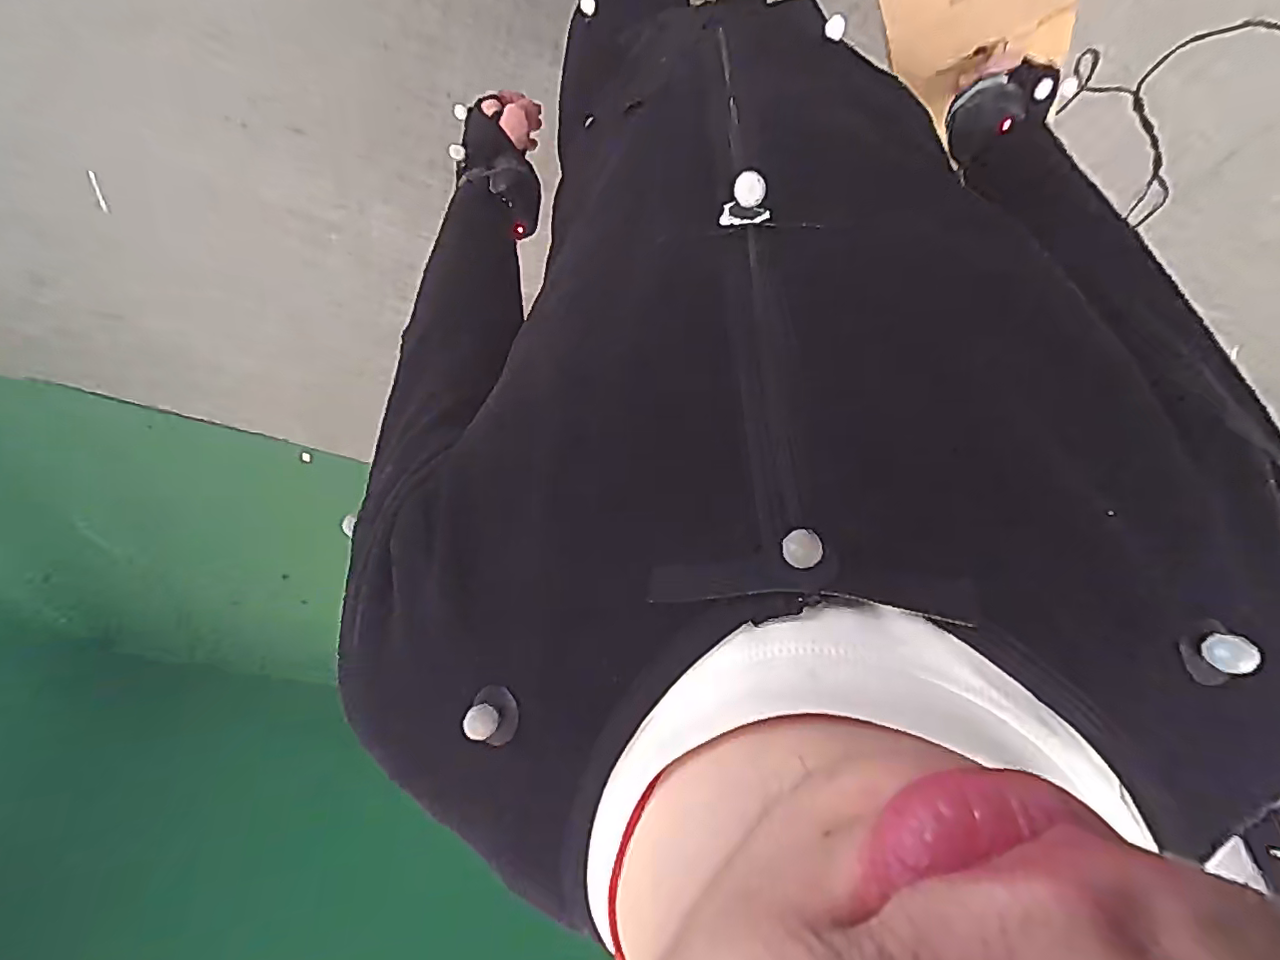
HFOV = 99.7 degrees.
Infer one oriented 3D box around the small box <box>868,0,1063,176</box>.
[{"bbox_3d":[0.396,-0.516,0.669,0.168,0.179,0.176,-13,164,30],"label":"small box"}]
